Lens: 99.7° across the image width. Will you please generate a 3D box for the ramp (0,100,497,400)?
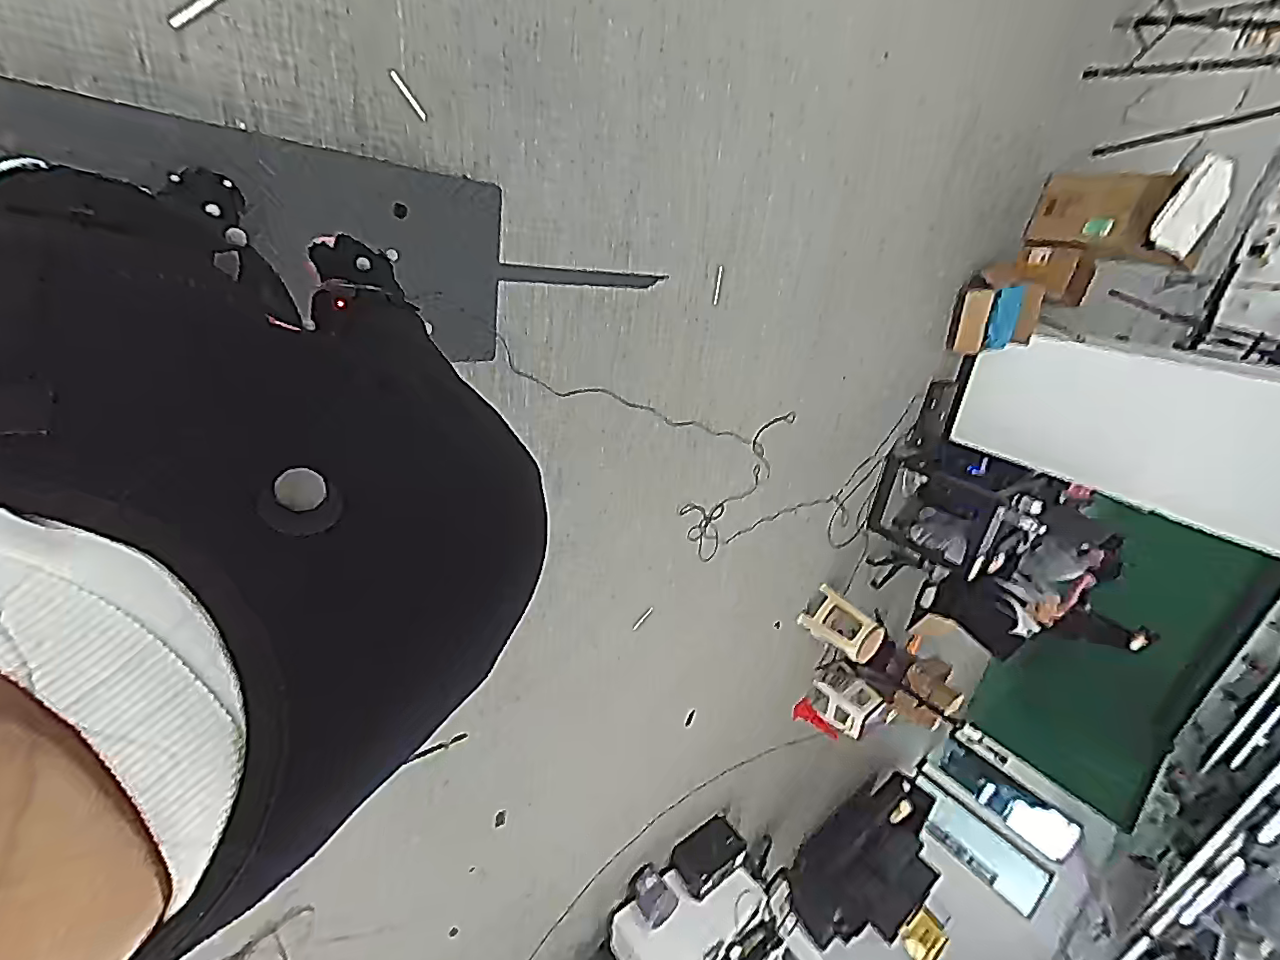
[{"bbox_3d":[-0.762,-0.488,1.260,0.991,0.206,0.509,-14,119,-36],"label":"ramp"}]
